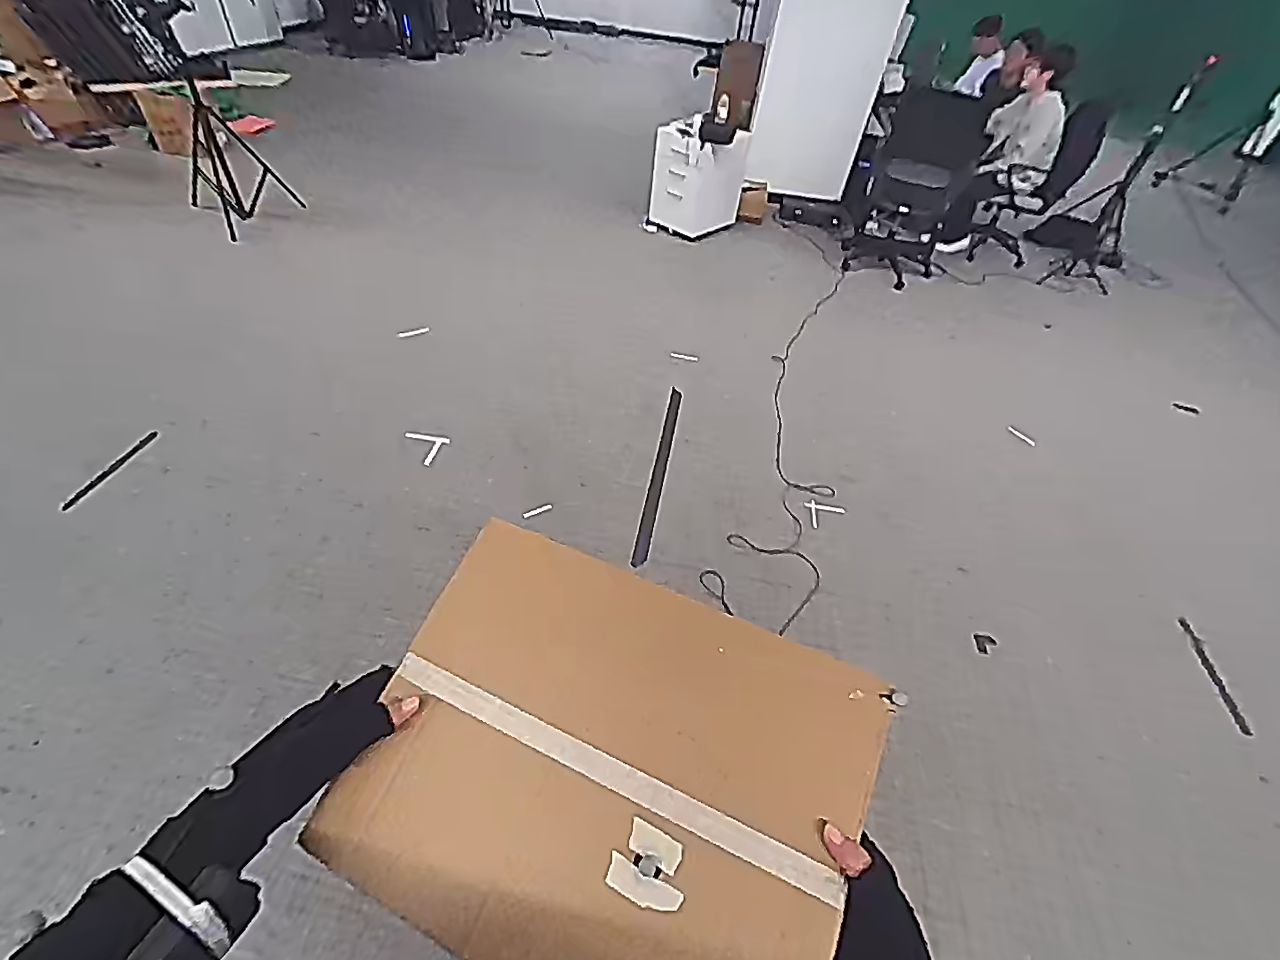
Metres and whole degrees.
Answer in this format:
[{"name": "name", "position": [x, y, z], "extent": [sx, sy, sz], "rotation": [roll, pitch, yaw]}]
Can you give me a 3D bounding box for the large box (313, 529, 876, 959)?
[{"name": "large box", "position": [-0.025, 0.303, 0.592], "extent": [0.408, 0.320, 0.320], "rotation": [20, 68, 14]}]
